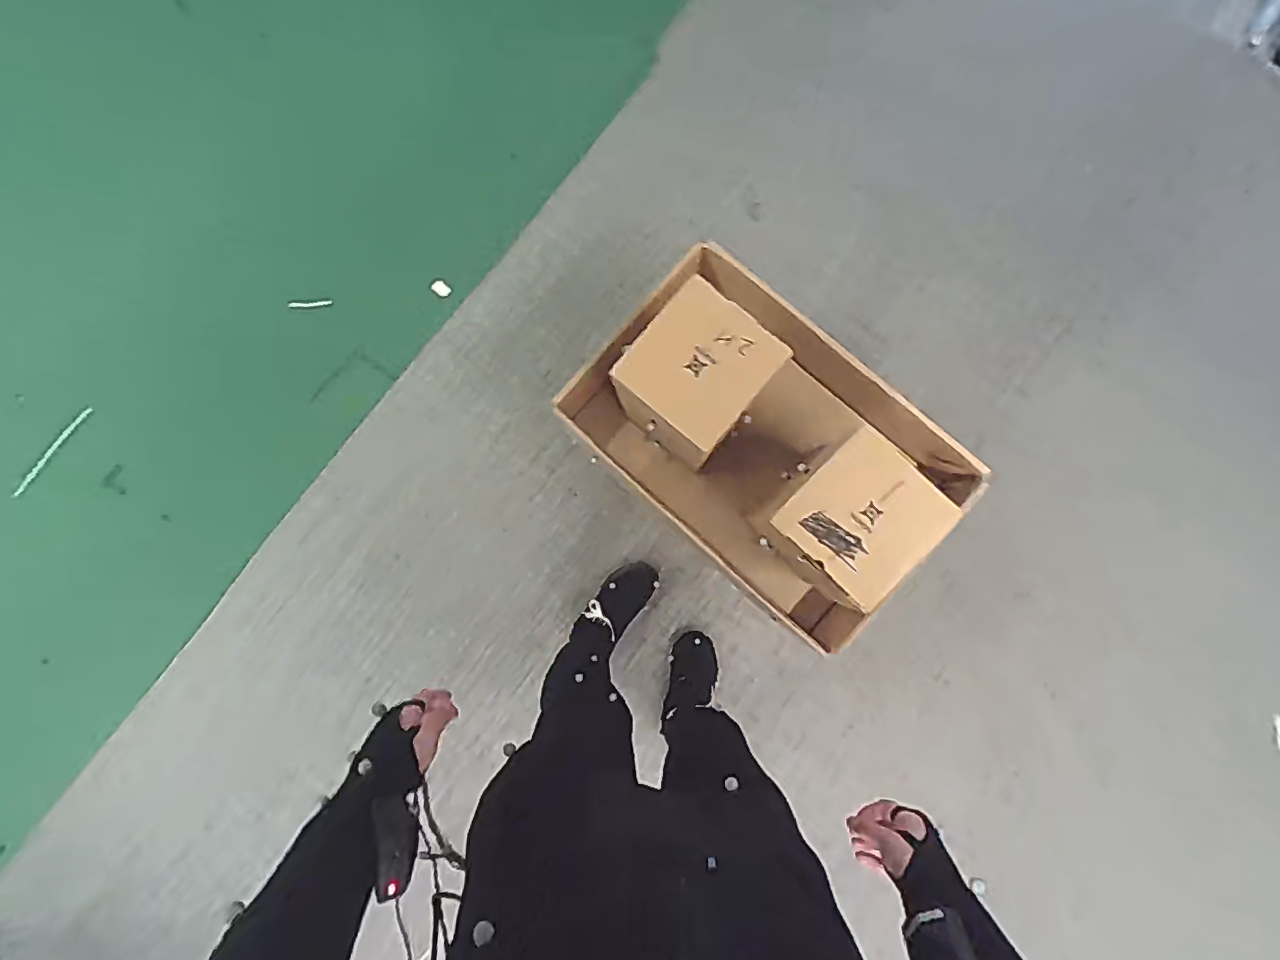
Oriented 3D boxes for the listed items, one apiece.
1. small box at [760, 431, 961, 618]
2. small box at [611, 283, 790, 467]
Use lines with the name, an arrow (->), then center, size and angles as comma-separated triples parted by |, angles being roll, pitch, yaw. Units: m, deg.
small box -> 0.283, 0.063, 0.746 | 0.179, 0.176, 0.168 | -45, 83, -3
small box -> 0.083, -0.135, 0.774 | 0.168, 0.176, 0.179 | 41, 89, 5
